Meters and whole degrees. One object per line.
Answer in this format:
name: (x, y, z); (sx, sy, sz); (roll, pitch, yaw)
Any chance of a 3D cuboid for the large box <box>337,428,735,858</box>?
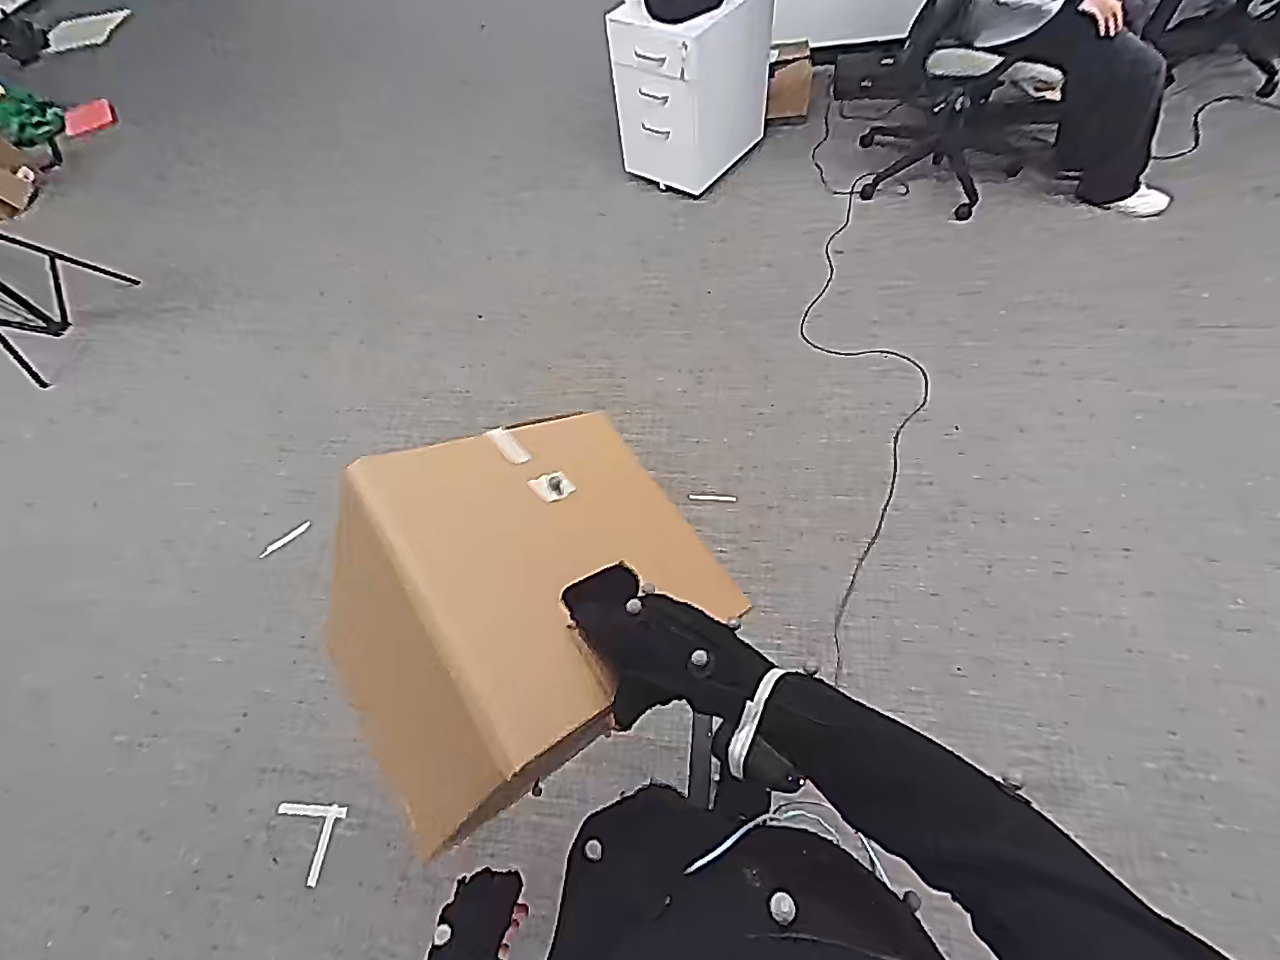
large box: (-0.161, 0.198, 0.688); (0.320, 0.408, 0.320); (-19, 63, -42)
